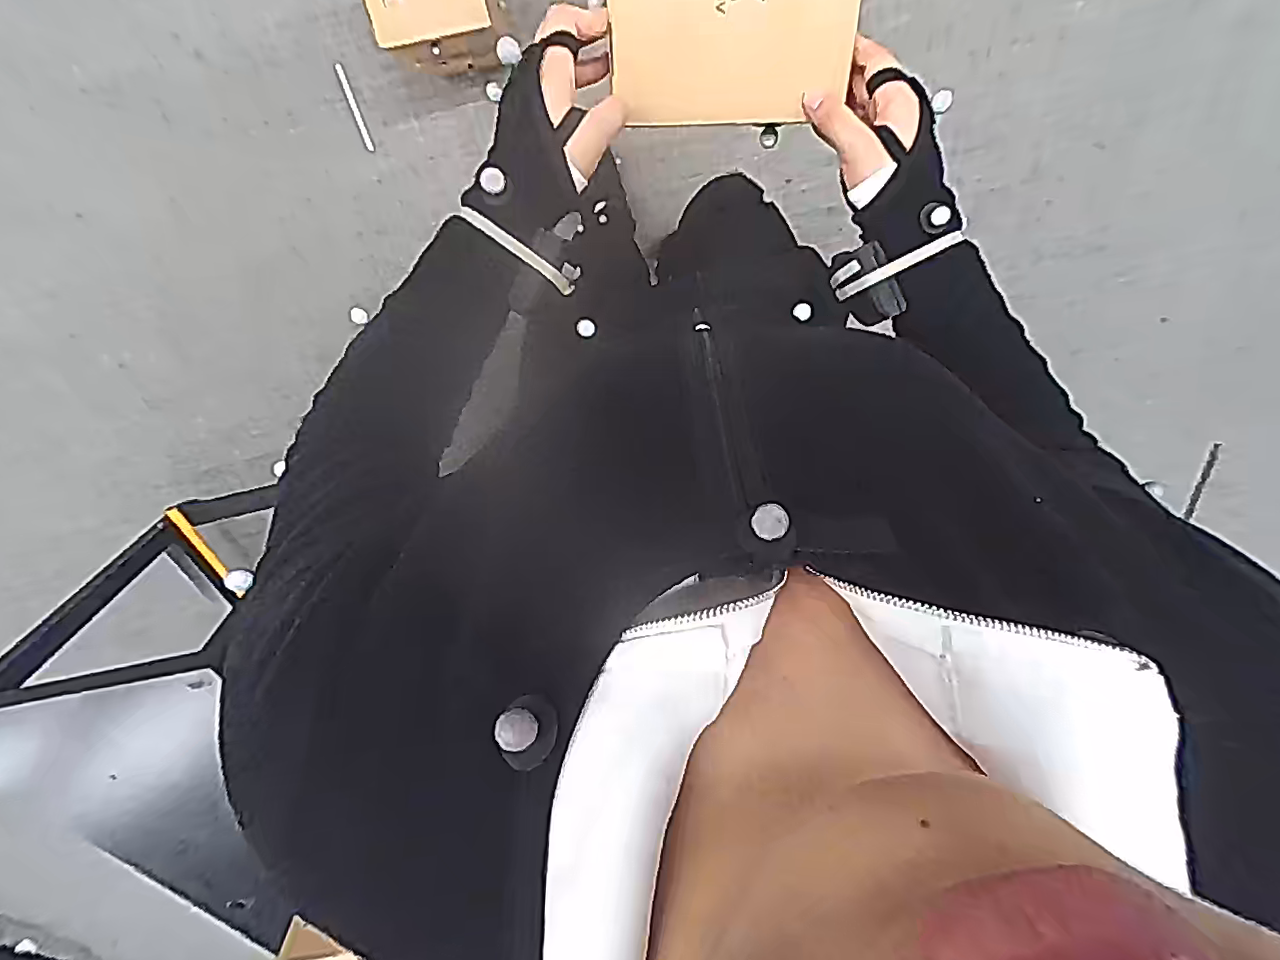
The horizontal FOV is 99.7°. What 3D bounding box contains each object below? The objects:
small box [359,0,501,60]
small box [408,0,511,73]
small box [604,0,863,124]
[{"bbox_3d":[-0.329,-0.769,0.829,0.179,0.176,0.168,-10,123,1],"label":"small box"},{"bbox_3d":[-0.342,-0.853,0.972,0.168,0.176,0.179,-10,124,2],"label":"small box"},{"bbox_3d":[0.061,-0.377,0.419,0.179,0.176,0.168,-2,124,-2],"label":"small box"}]
